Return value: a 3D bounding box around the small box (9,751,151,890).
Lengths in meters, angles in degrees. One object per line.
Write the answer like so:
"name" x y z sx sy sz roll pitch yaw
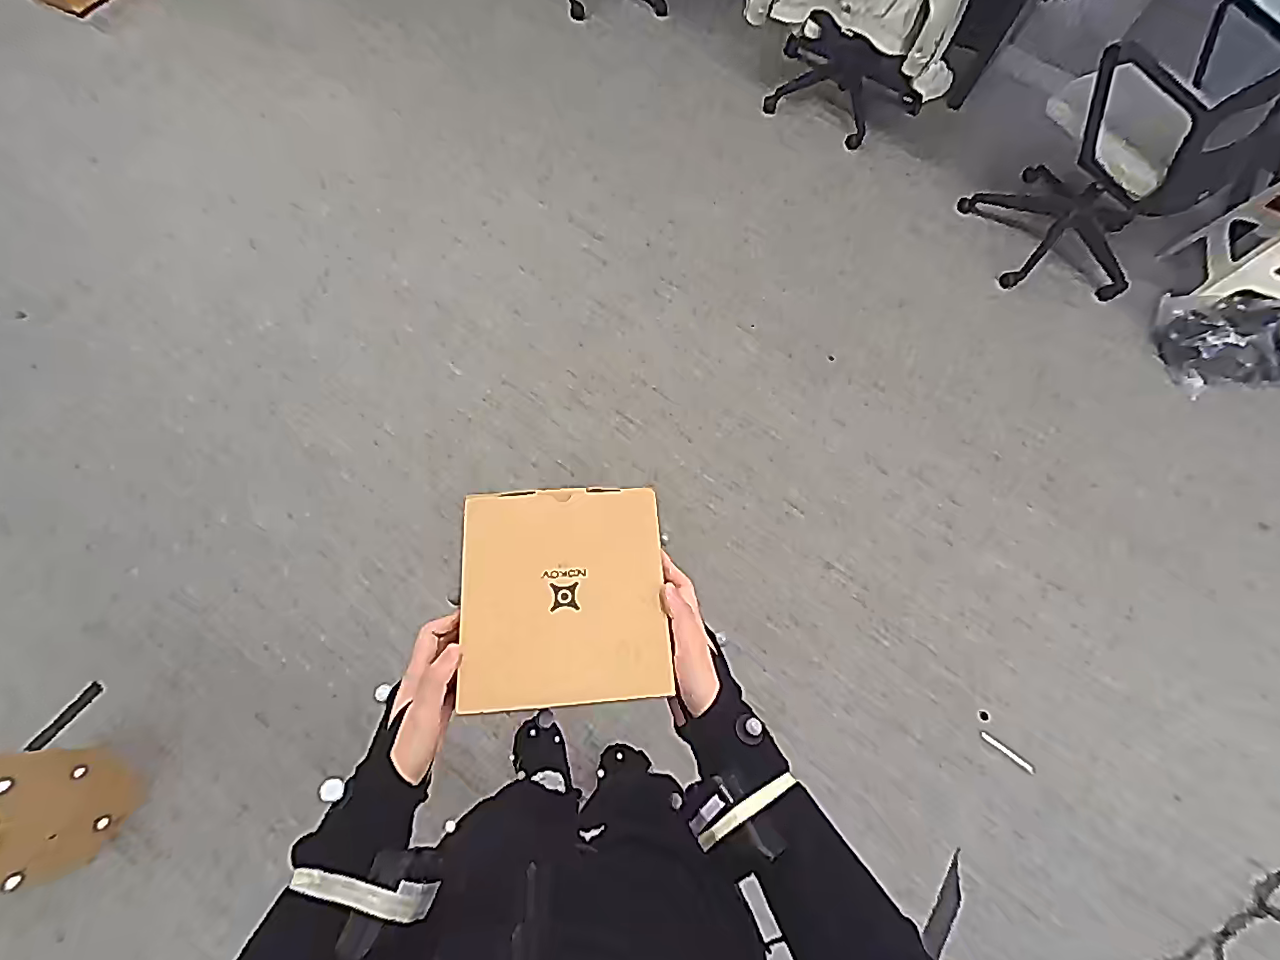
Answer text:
"small box" -1.172 0.672 1.098 0.179 0.176 0.168 30 68 8

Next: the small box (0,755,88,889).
"small box" -1.155 0.608 0.947 0.179 0.176 0.168 31 69 8

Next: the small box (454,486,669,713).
"small box" -0.070 0.119 0.511 0.168 0.176 0.179 -2 66 -7
